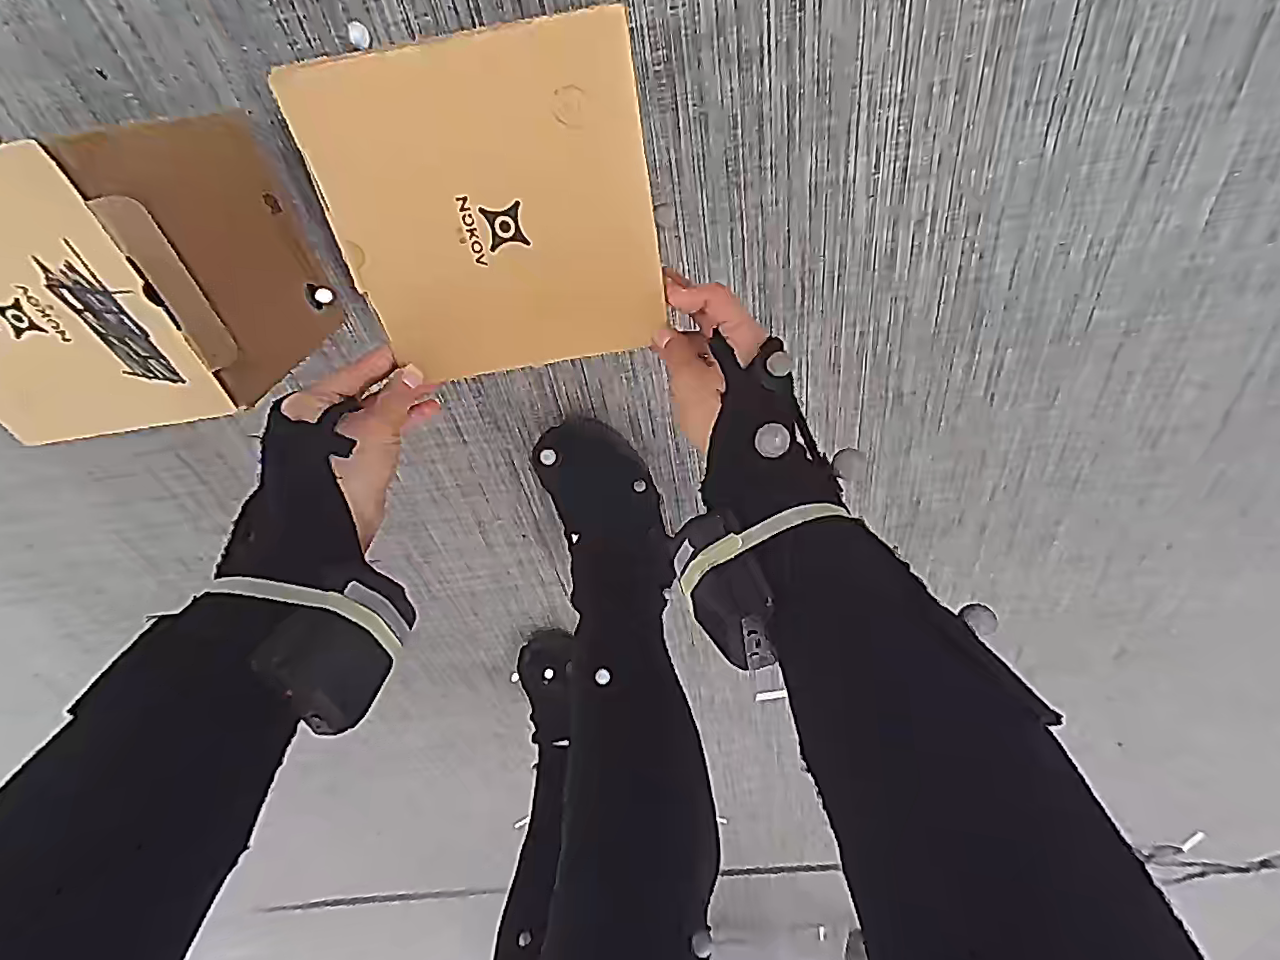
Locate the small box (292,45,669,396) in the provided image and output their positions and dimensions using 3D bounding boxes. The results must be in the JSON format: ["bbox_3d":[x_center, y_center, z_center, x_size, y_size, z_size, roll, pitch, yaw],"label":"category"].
[{"bbox_3d":[-0.081,-0.180,0.375,0.179,0.176,0.168,-8,124,4],"label":"small box"}]

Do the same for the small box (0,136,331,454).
[{"bbox_3d":[-0.368,-0.142,0.404,0.179,0.176,0.168,-7,127,6],"label":"small box"}]
